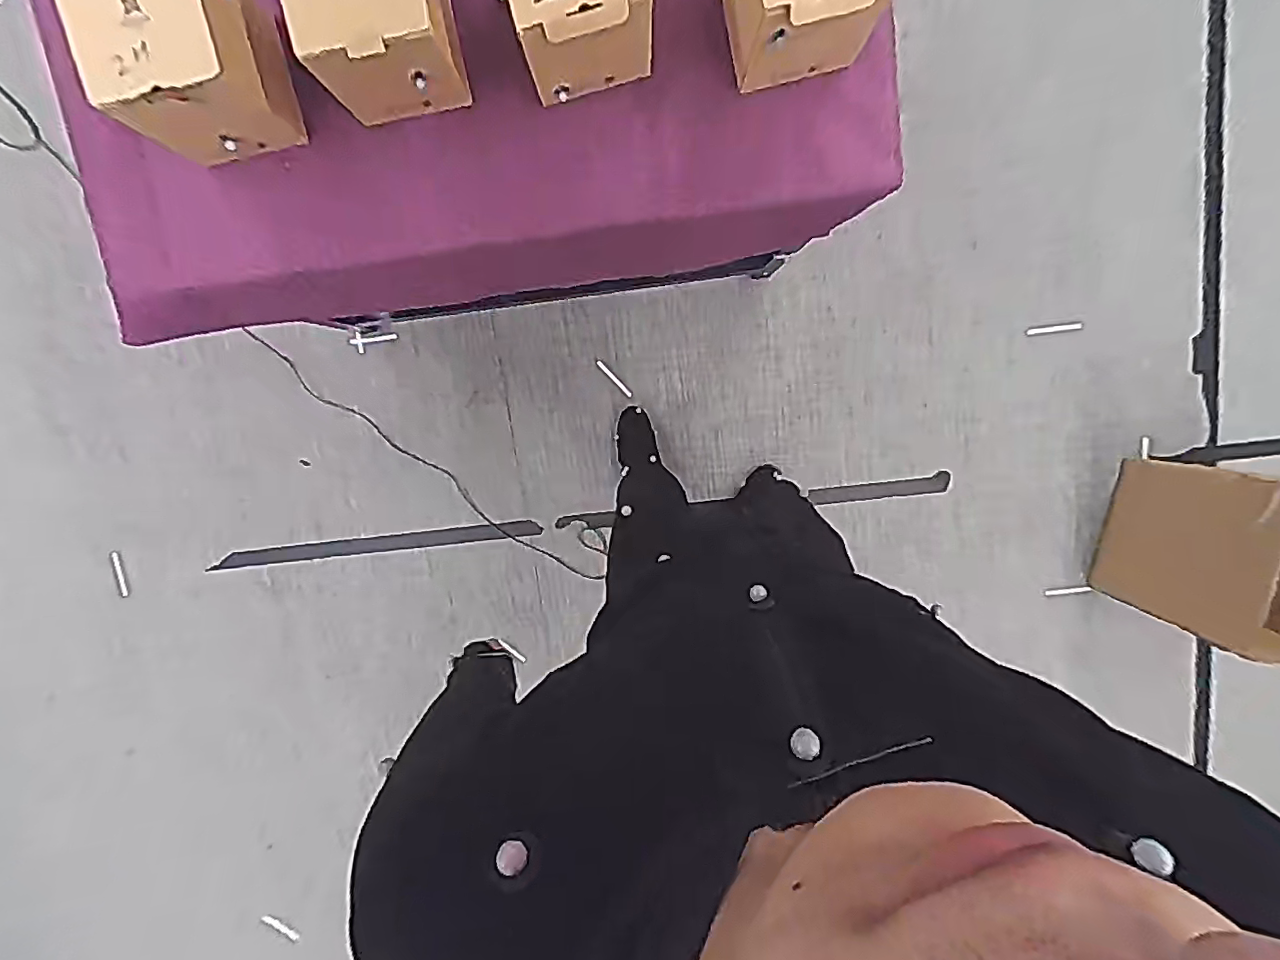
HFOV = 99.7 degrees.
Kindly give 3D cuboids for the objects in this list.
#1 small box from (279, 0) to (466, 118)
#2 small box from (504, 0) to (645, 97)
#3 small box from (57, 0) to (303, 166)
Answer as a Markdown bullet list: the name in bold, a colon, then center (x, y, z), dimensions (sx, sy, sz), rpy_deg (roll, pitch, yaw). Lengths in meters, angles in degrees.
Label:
- **small box**: center (-0.342, -0.604, 0.702), dimensions (0.168, 0.176, 0.179), rpy_deg (-10, 98, 1)
- **small box**: center (-0.091, -0.634, 0.696), dimensions (0.168, 0.176, 0.179), rpy_deg (-16, 98, 2)
- **small box**: center (-0.587, -0.550, 0.707), dimensions (0.168, 0.176, 0.179), rpy_deg (-11, 99, 2)
